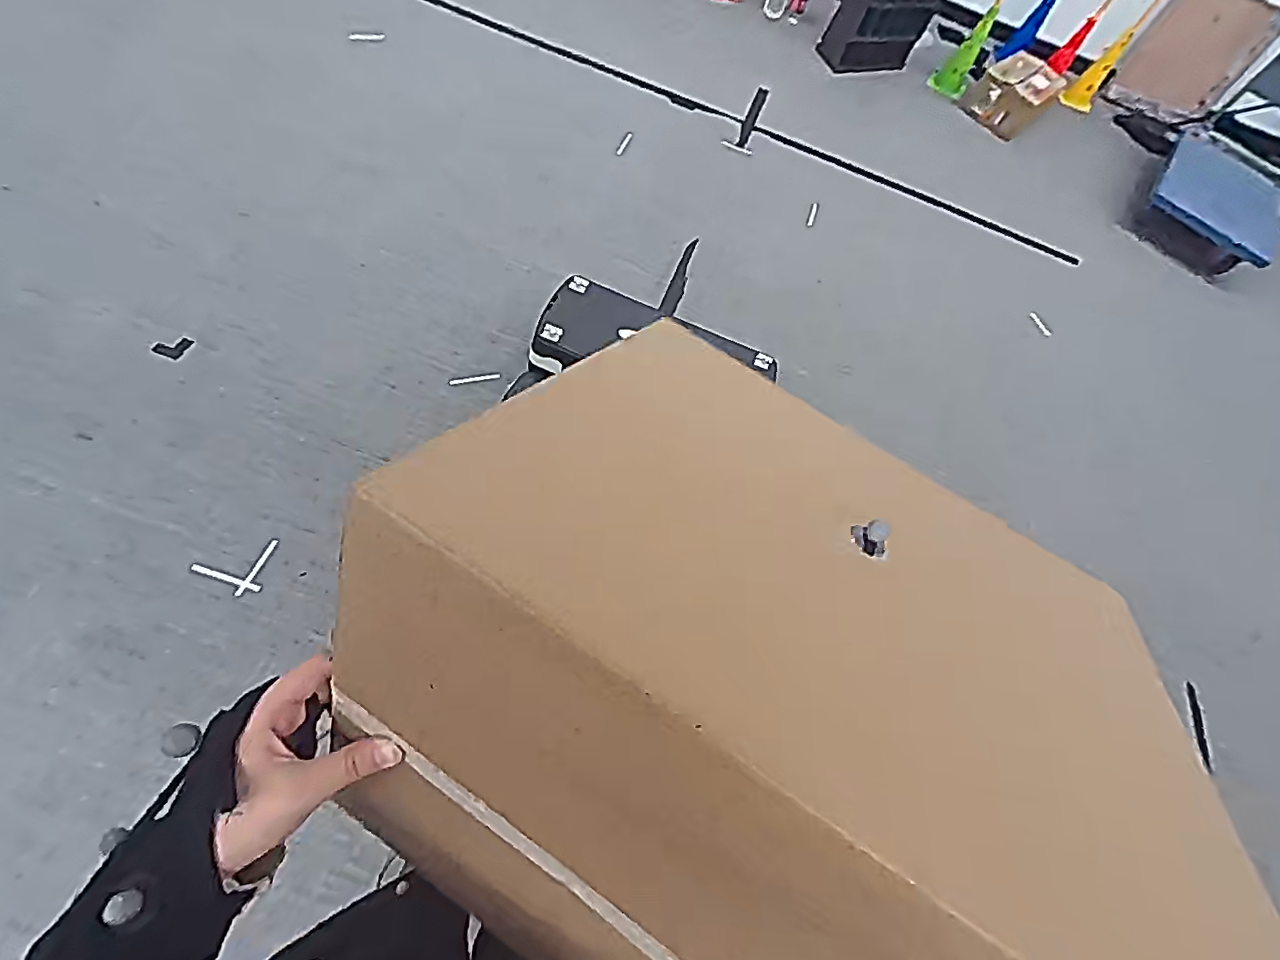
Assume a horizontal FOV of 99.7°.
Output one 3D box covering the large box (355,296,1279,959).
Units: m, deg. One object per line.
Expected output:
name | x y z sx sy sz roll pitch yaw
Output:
large box | 0.082 0.123 0.378 0.408 0.320 0.320 33 38 8

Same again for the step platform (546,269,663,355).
step platform | 0.081 -0.323 1.544 0.684 0.204 0.286 28 62 1
